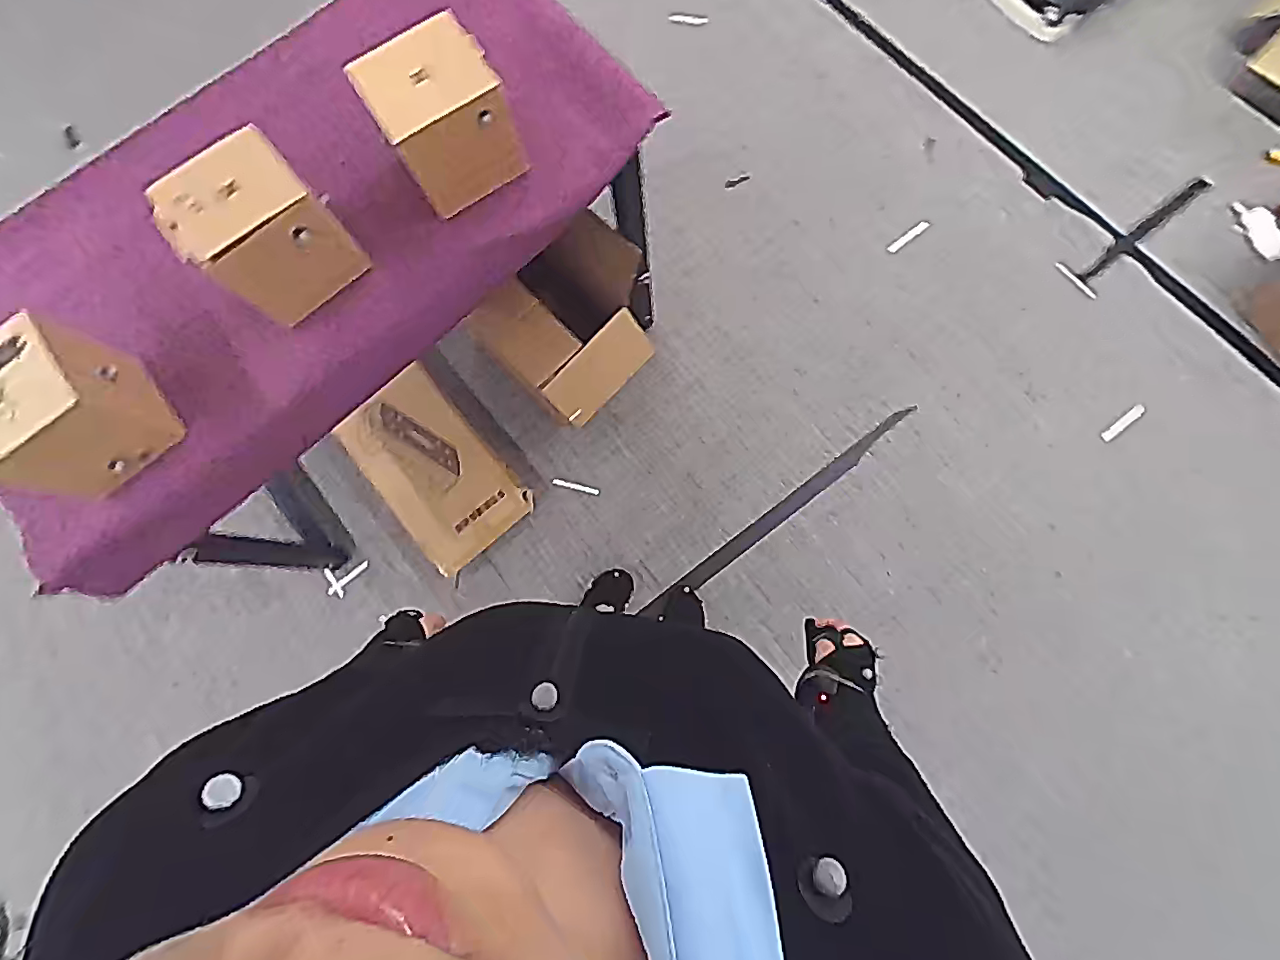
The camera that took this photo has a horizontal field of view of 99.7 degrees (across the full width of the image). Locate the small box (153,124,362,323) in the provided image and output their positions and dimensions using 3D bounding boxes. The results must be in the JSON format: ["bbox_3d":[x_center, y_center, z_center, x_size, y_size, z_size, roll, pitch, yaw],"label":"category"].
[{"bbox_3d":[-0.565,-0.382,0.829,0.179,0.176,0.168,-40,77,-5],"label":"small box"}]

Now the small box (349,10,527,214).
[{"bbox_3d":[-0.306,-0.566,0.853,0.179,0.176,0.168,-33,79,-4],"label":"small box"}]
